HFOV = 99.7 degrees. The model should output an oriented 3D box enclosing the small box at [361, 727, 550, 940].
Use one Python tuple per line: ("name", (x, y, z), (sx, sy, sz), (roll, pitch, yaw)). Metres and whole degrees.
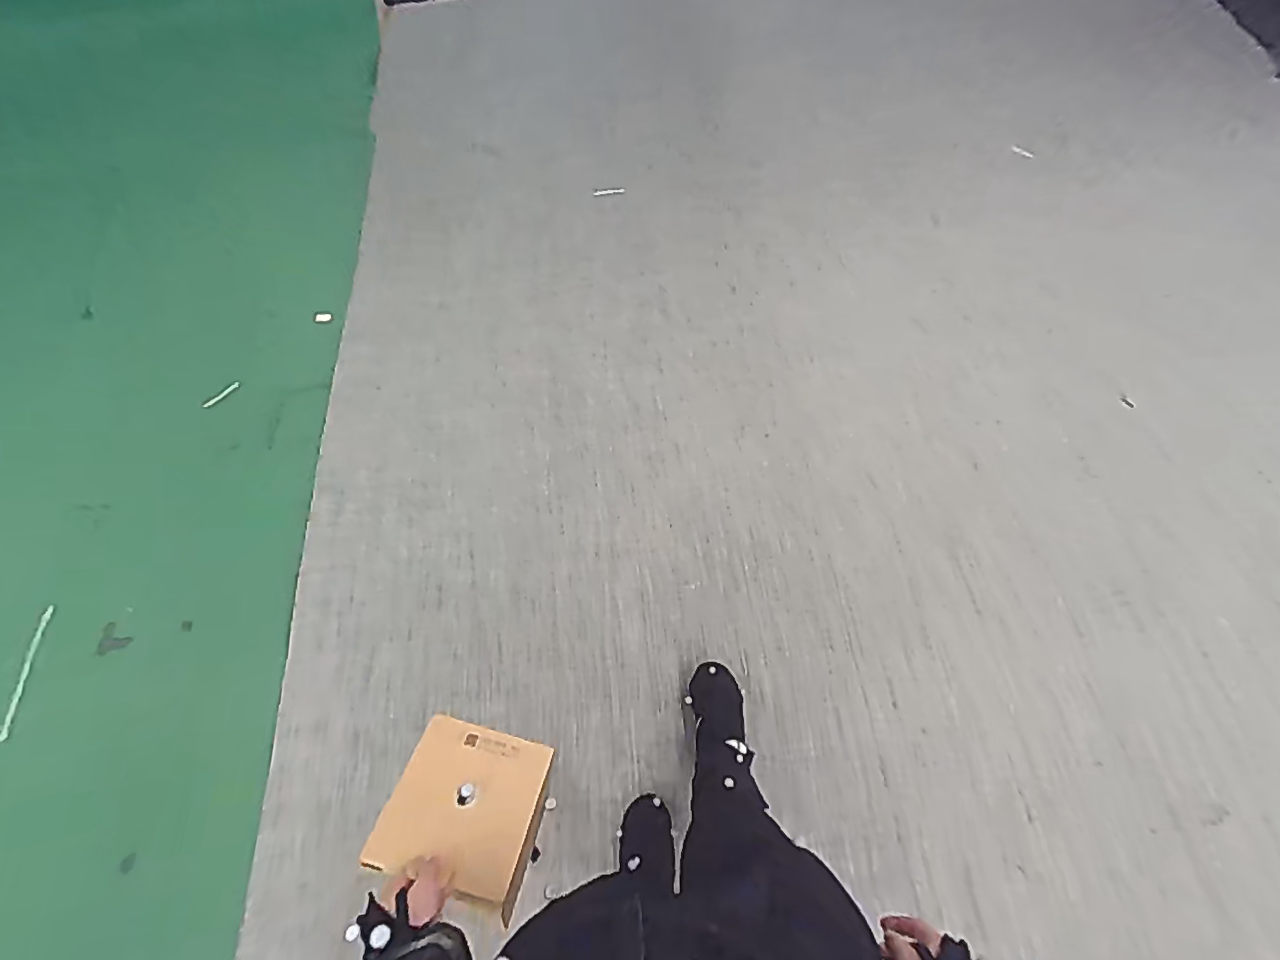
("small box", (-0.218, 0.442, 0.685), (0.168, 0.179, 0.176), (13, 40, 2))
